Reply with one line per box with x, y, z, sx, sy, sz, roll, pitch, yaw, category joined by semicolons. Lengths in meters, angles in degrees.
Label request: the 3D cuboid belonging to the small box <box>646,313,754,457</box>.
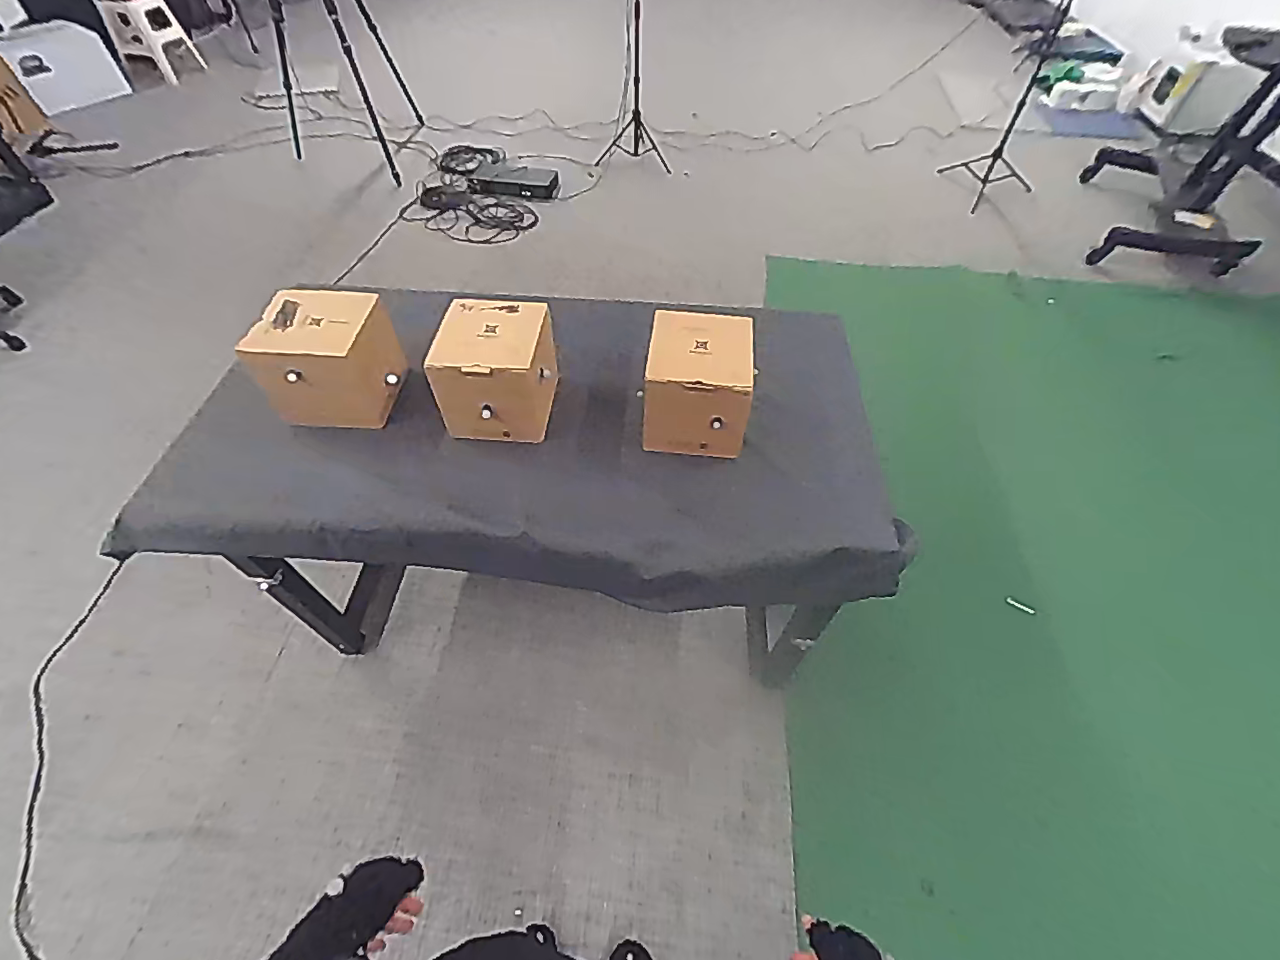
0.100;-0.159;0.927;0.168;0.176;0.179;6;52;2;small box

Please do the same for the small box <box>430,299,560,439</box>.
-0.238;-0.189;0.941;0.168;0.176;0.179;4;53;2;small box

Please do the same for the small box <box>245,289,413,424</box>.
-0.529;-0.213;0.951;0.179;0.176;0.168;3;53;0;small box
